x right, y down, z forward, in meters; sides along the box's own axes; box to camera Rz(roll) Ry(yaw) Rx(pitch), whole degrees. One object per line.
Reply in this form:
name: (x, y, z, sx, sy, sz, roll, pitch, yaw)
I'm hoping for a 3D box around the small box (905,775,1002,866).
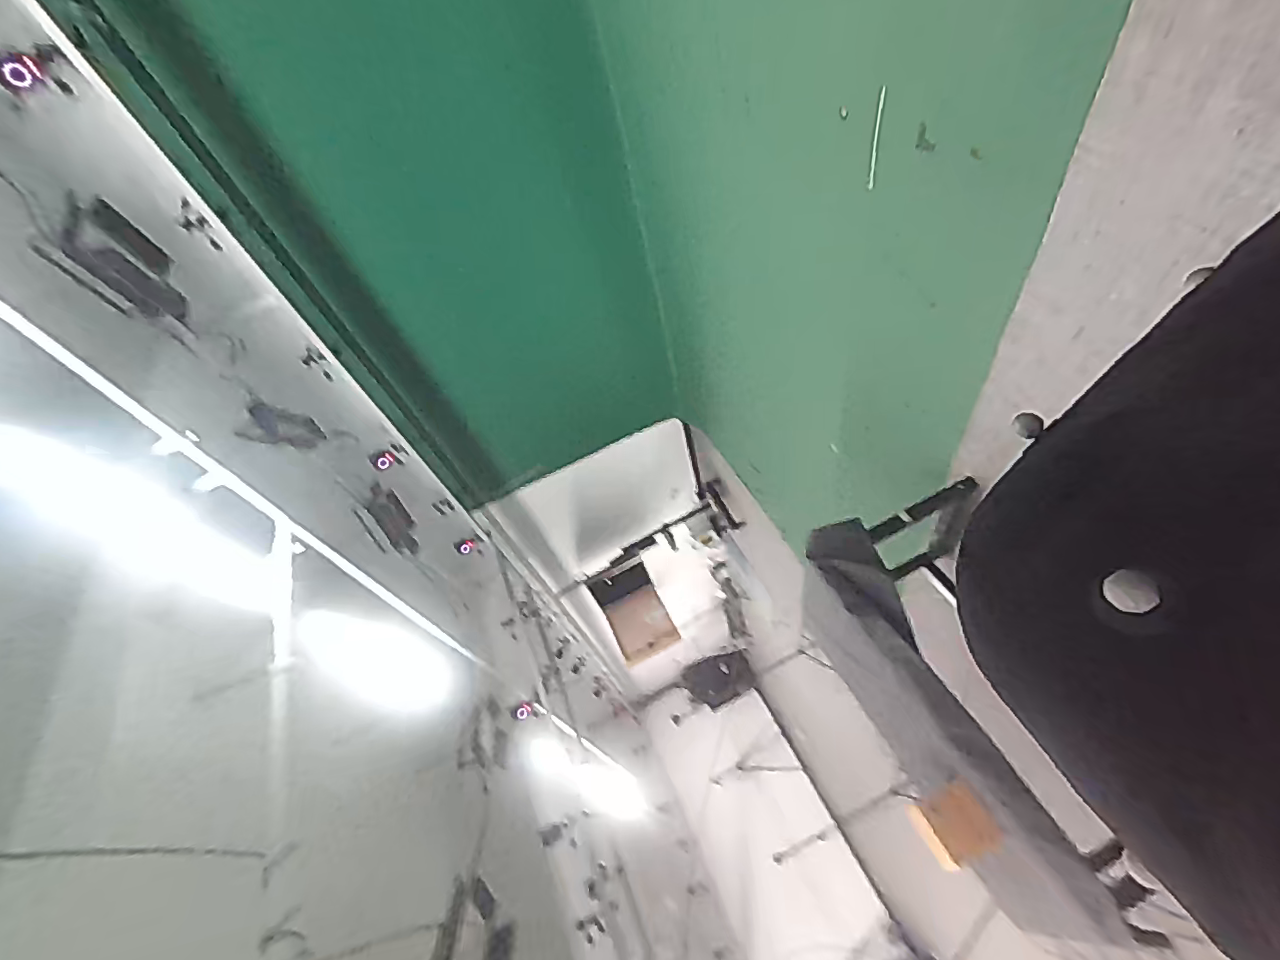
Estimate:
small box: (0.938, 1.024, 1.625, 0.179, 0.176, 0.168, 61, 174, 39)
